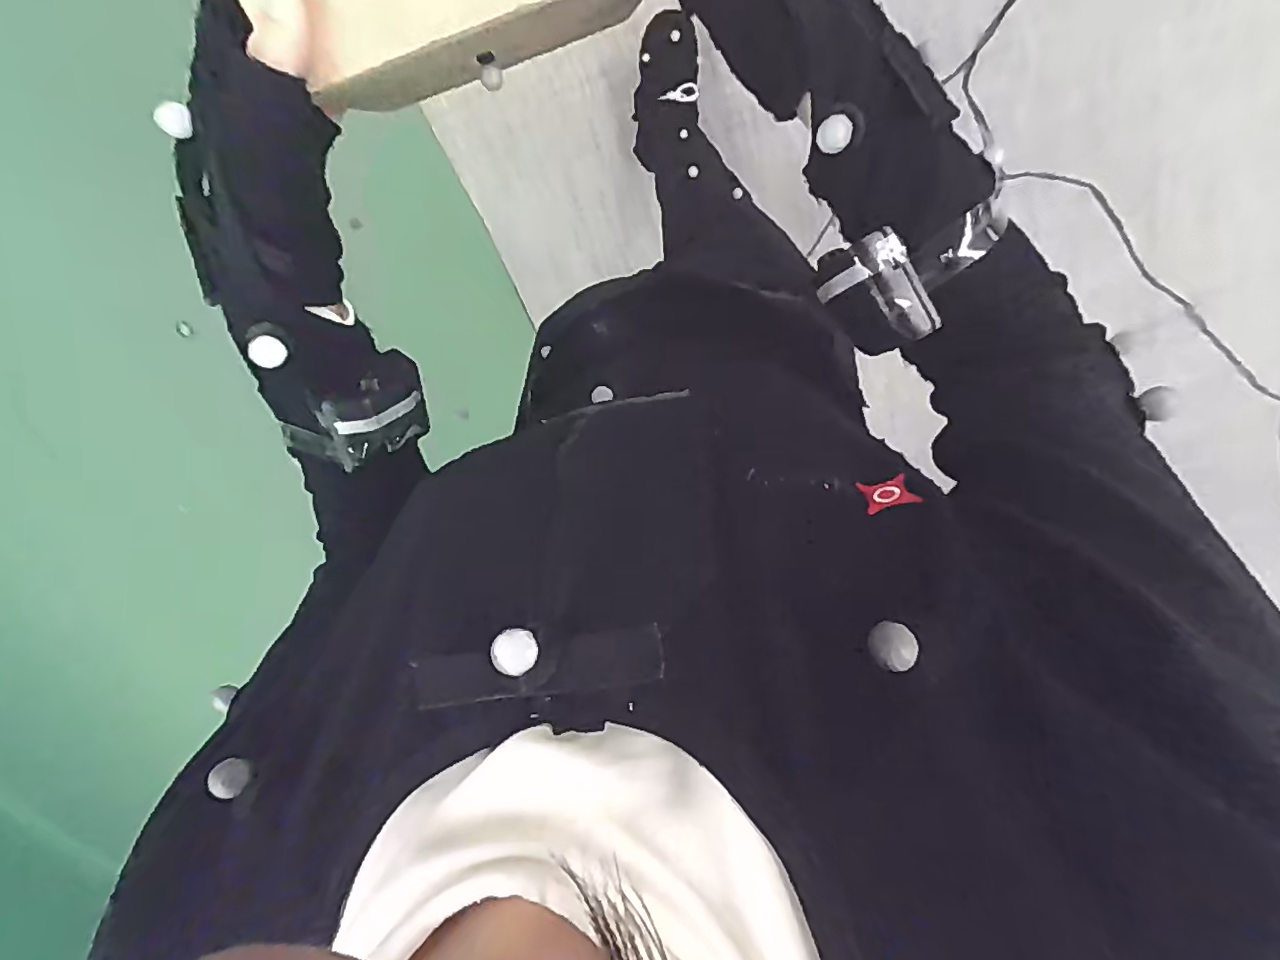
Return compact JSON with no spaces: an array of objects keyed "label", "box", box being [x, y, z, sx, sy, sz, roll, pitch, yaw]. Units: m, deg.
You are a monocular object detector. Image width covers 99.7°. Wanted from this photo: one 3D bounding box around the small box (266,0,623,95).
[{"label":"small box","box":[-0.103,-0.314,0.264,0.179,0.176,0.168,-18,123,2]}]
